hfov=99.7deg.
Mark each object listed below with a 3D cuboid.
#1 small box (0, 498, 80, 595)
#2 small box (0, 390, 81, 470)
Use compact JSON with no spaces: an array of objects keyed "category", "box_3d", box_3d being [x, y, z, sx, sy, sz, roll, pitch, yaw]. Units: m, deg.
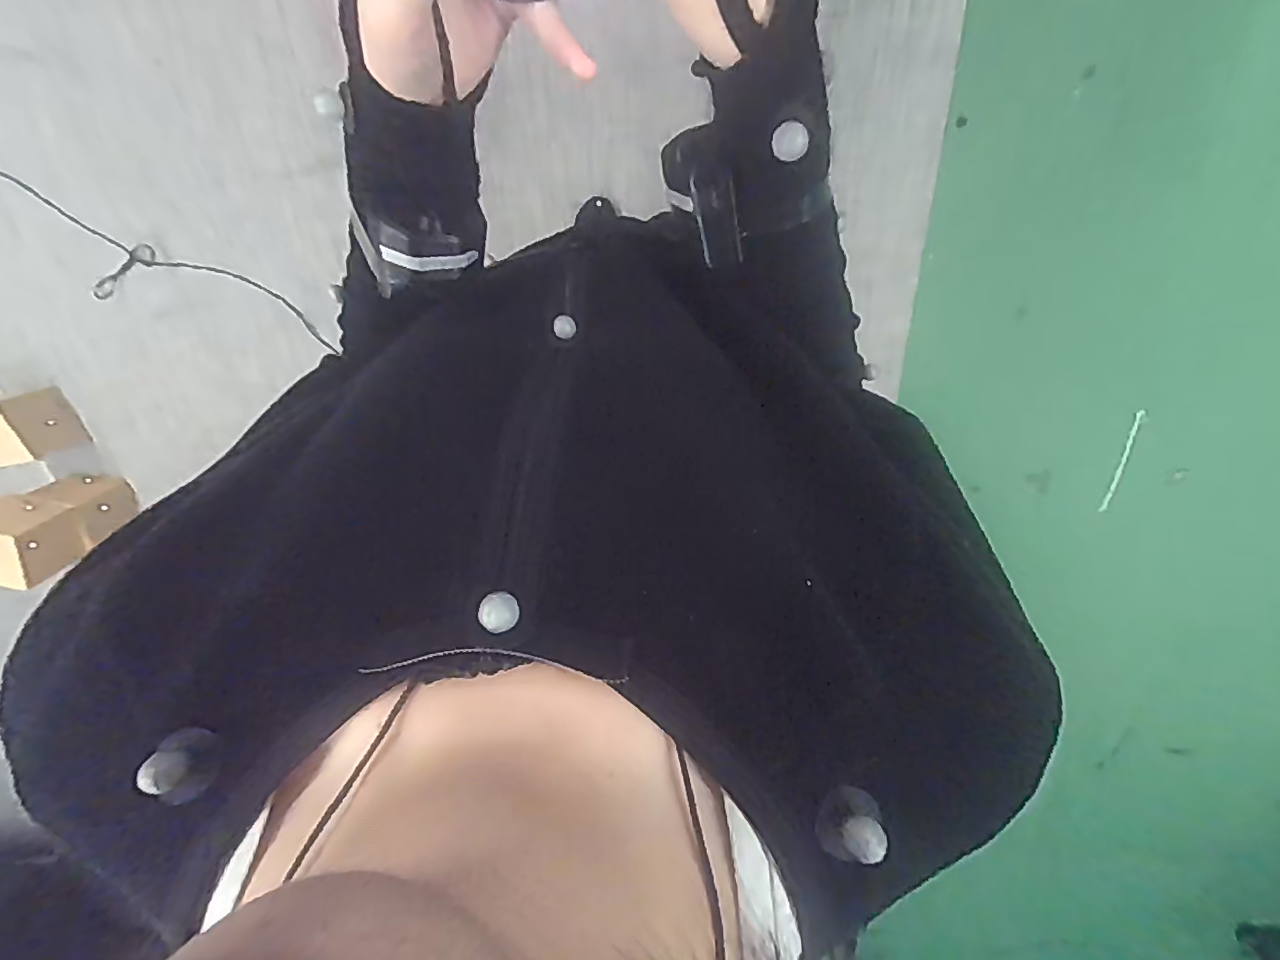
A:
[{"category":"small box","box_3d":[-1.664,0.173,1.445,0.168,0.176,0.179,14,114,-5]},{"category":"small box","box_3d":[-1.702,-0.137,1.474,0.179,0.176,0.168,-8,115,6]}]
